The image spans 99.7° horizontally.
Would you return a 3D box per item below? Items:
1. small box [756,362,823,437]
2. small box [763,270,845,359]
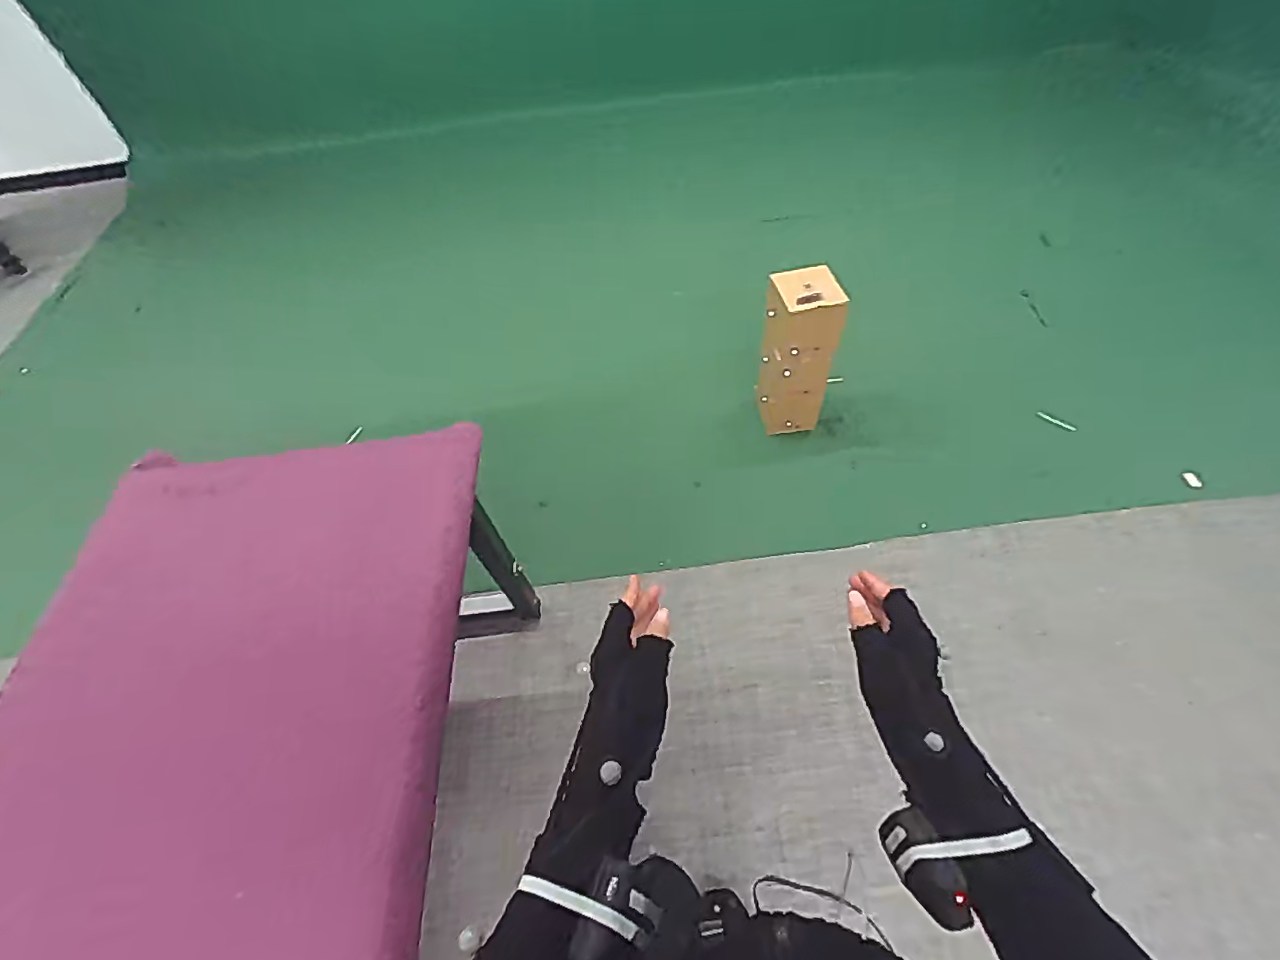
[{"bbox_3d":[0.492,-0.266,1.807,0.168,0.176,0.179,-7,55,1],"label":"small box"},{"bbox_3d":[0.462,-0.465,1.546,0.168,0.176,0.179,-11,54,-3],"label":"small box"}]
